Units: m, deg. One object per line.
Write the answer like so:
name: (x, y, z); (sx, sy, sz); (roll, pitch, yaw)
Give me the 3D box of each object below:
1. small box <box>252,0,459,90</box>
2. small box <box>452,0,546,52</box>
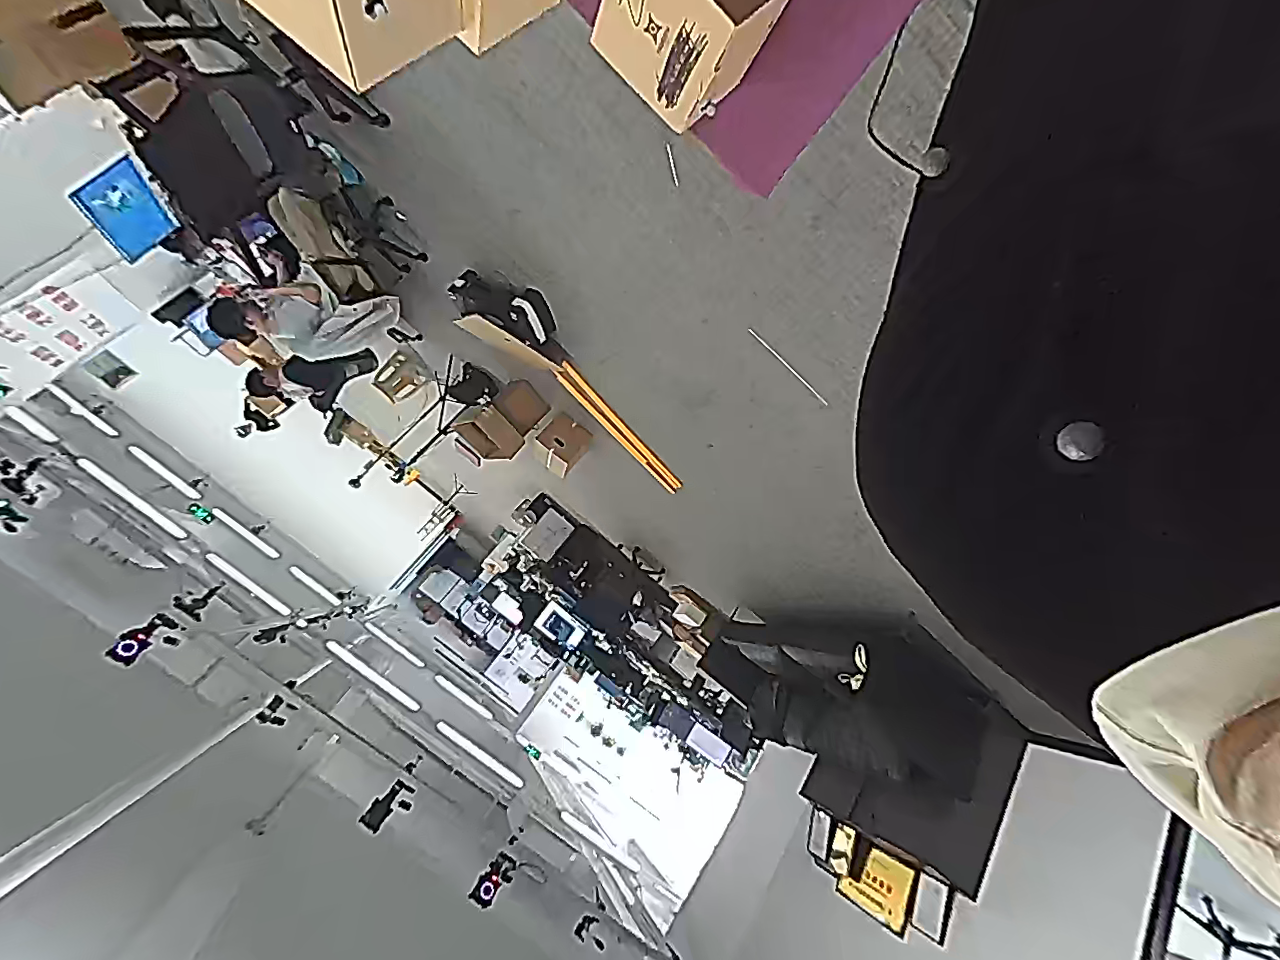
small box: (-0.299, -0.559, 0.542); (0.168, 0.176, 0.179); (39, 158, -3)
small box: (-0.190, -0.661, 0.616); (0.179, 0.176, 0.168); (41, 158, -6)
